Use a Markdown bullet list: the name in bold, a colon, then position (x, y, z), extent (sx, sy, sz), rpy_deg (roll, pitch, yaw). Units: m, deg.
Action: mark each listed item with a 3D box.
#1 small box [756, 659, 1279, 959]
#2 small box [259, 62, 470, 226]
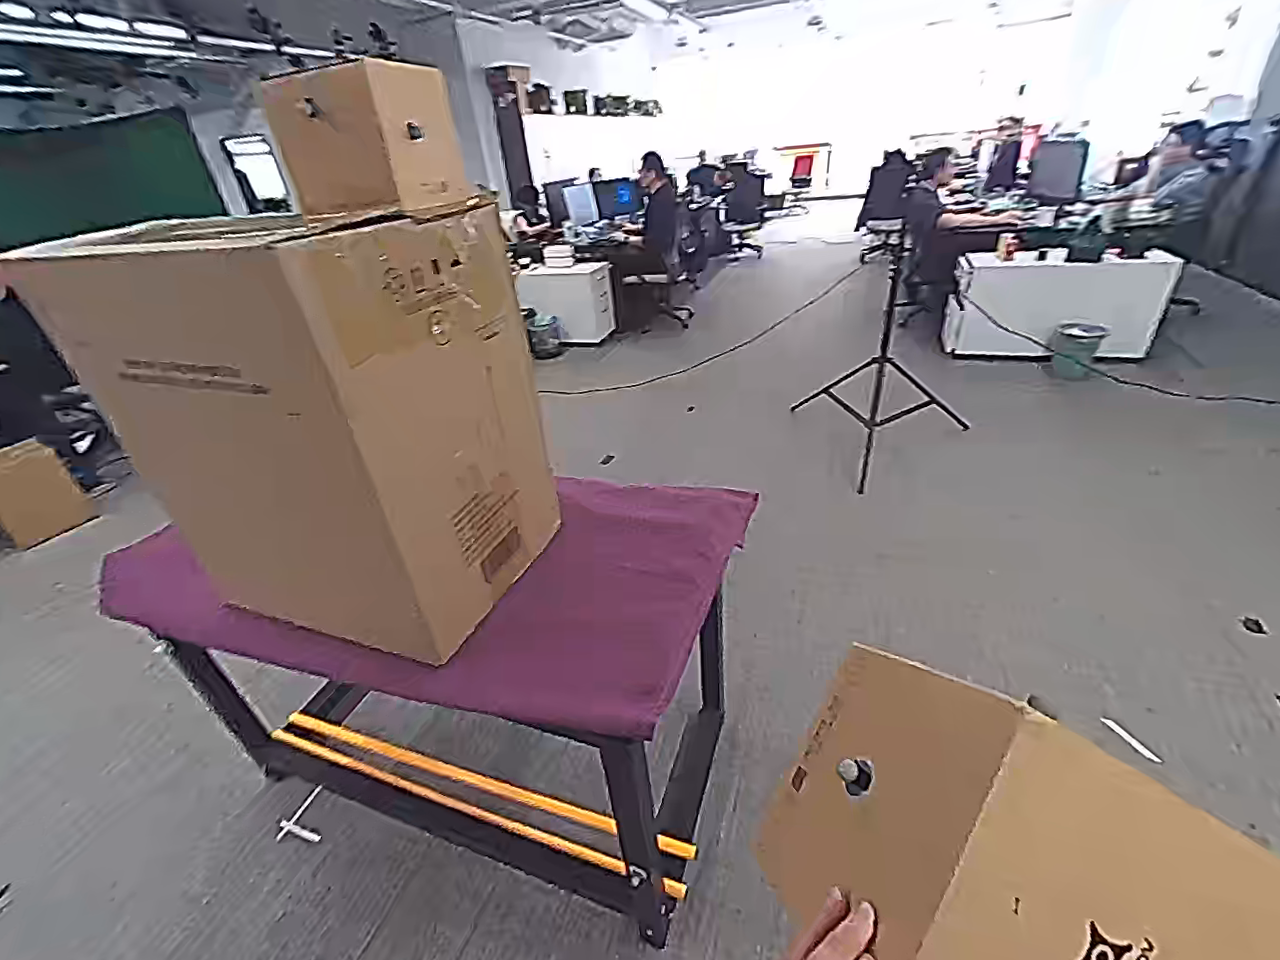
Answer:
- **small box**: position (0.197, 0.227, 0.324), extent (0.179, 0.176, 0.168), rpy_deg (32, 81, -2)
- **small box**: position (-0.369, -0.466, 0.762), extent (0.179, 0.176, 0.168), rpy_deg (3, 32, 17)
